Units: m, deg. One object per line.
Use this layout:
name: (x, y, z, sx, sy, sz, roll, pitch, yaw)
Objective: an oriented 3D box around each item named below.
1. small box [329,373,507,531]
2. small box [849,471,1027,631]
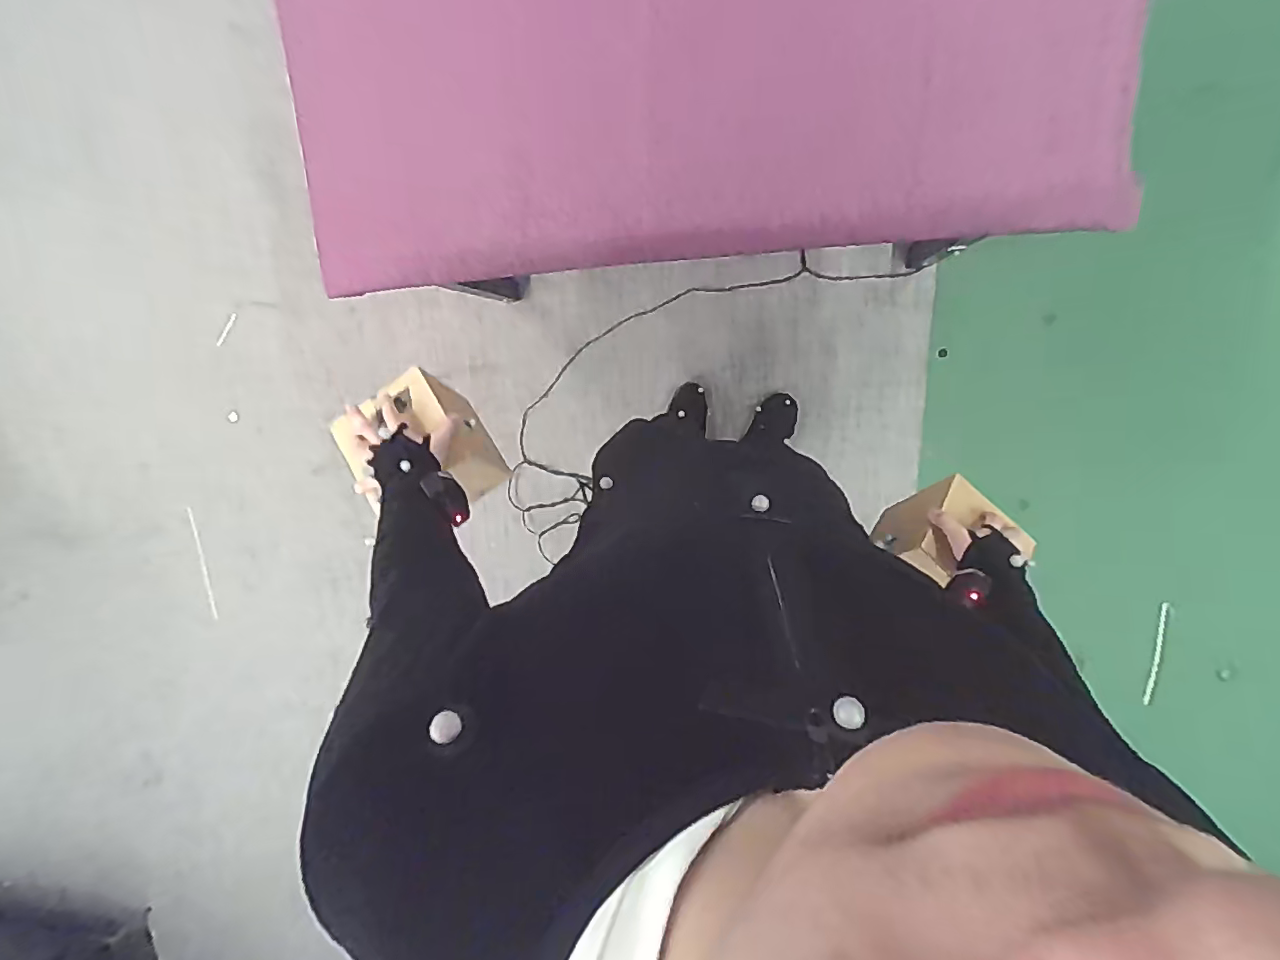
small box: (-0.346, -0.034, 0.871, 0.168, 0.176, 0.179, -35, 77, 1)
small box: (0.476, 0.124, 0.886, 0.168, 0.179, 0.176, 42, 150, 3)
